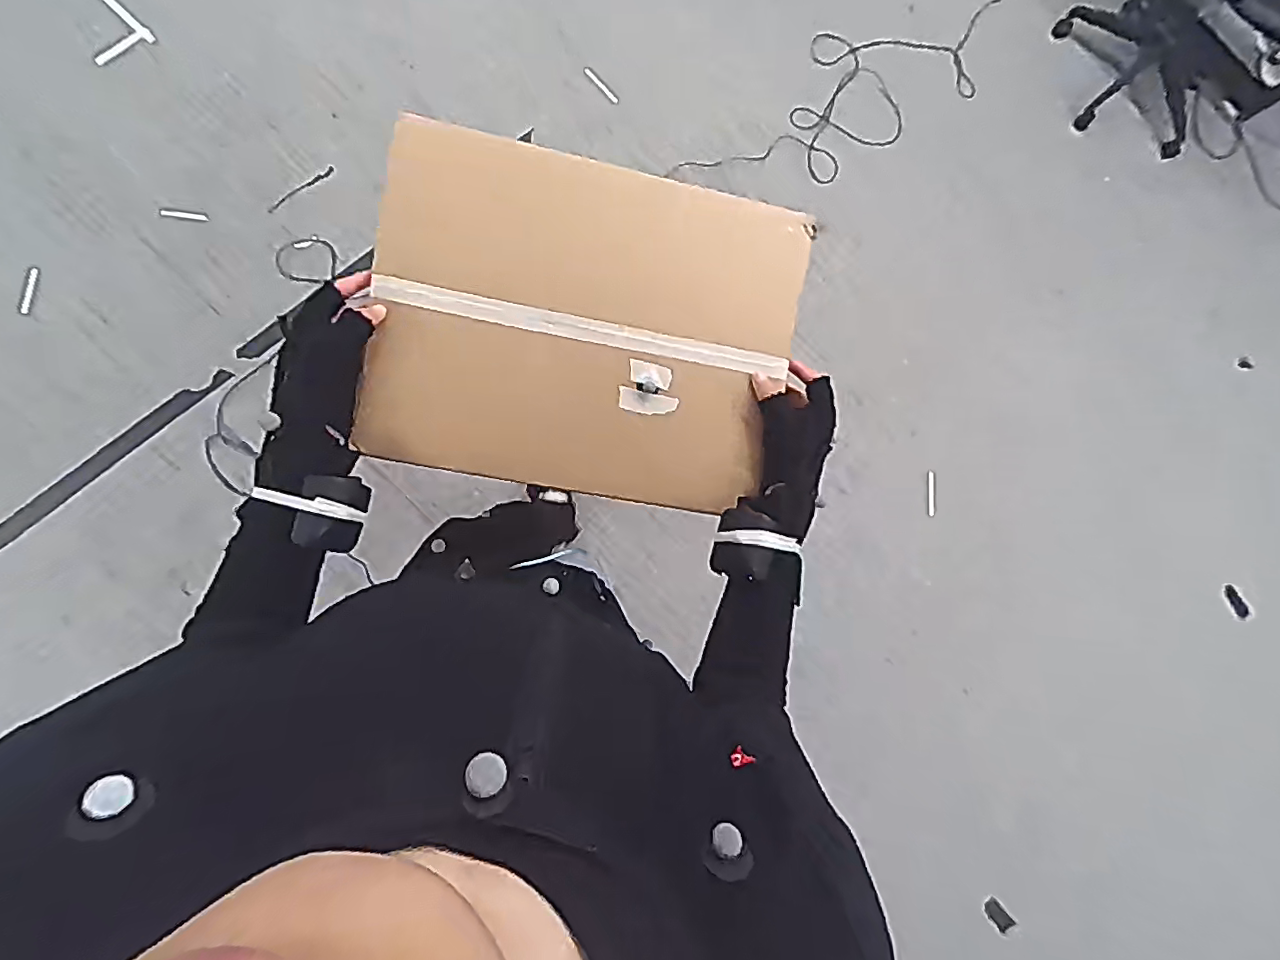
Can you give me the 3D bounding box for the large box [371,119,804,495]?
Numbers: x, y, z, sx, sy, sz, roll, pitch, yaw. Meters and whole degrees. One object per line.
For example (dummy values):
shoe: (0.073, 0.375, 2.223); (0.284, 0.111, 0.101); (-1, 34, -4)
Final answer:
large box: (-0.067, -0.174, 0.689); (0.408, 0.320, 0.320); (10, 95, -8)
